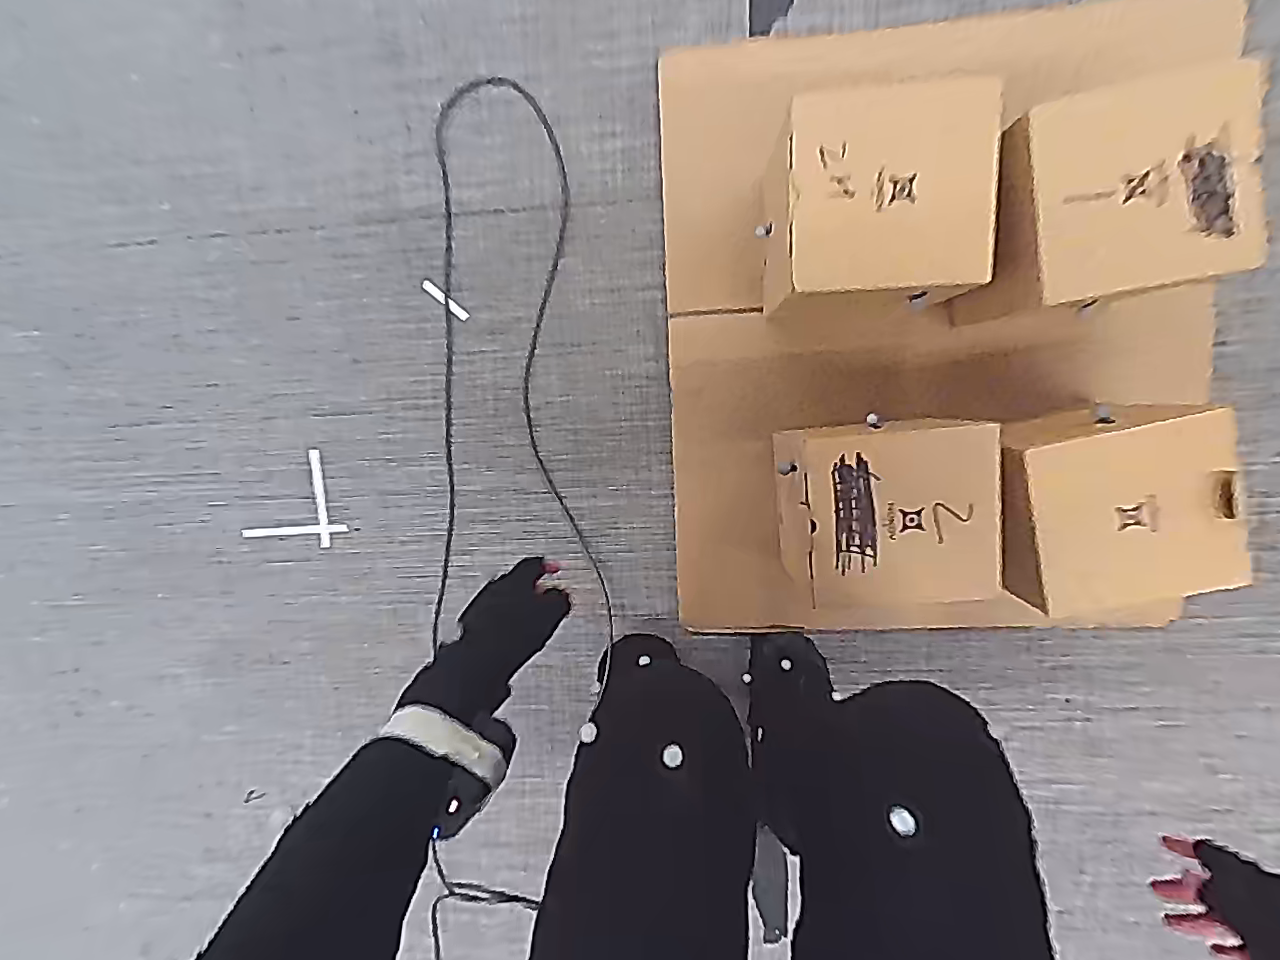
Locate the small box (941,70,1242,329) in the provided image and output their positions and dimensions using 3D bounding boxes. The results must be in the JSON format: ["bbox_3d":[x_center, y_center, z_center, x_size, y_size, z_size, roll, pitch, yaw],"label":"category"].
[{"bbox_3d":[0.425,-0.256,0.541,0.179,0.176,0.168,-9,97,7],"label":"small box"}]

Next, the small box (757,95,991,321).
[{"bbox_3d":[0.223,-0.262,0.560,0.179,0.176,0.168,-1,98,5],"label":"small box"}]
